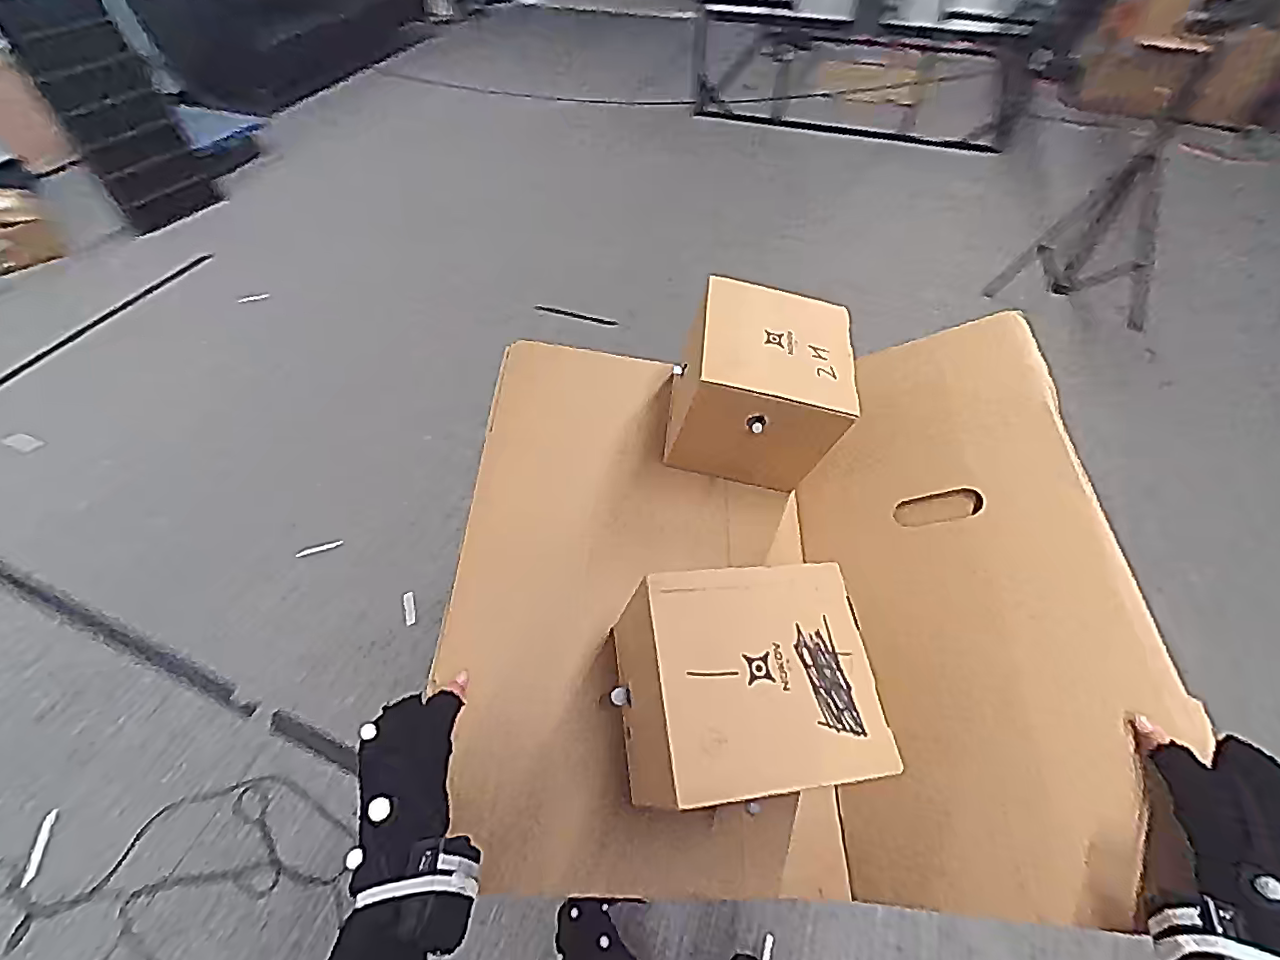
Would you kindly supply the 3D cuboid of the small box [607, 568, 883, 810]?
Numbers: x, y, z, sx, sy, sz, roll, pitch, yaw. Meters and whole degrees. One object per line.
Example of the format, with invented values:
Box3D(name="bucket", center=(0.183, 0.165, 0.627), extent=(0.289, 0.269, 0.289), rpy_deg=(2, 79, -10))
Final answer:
Box3D(name="small box", center=(0.075, 0.189, 0.492), extent=(0.179, 0.176, 0.168), rpy_deg=(-2, 61, -13))
